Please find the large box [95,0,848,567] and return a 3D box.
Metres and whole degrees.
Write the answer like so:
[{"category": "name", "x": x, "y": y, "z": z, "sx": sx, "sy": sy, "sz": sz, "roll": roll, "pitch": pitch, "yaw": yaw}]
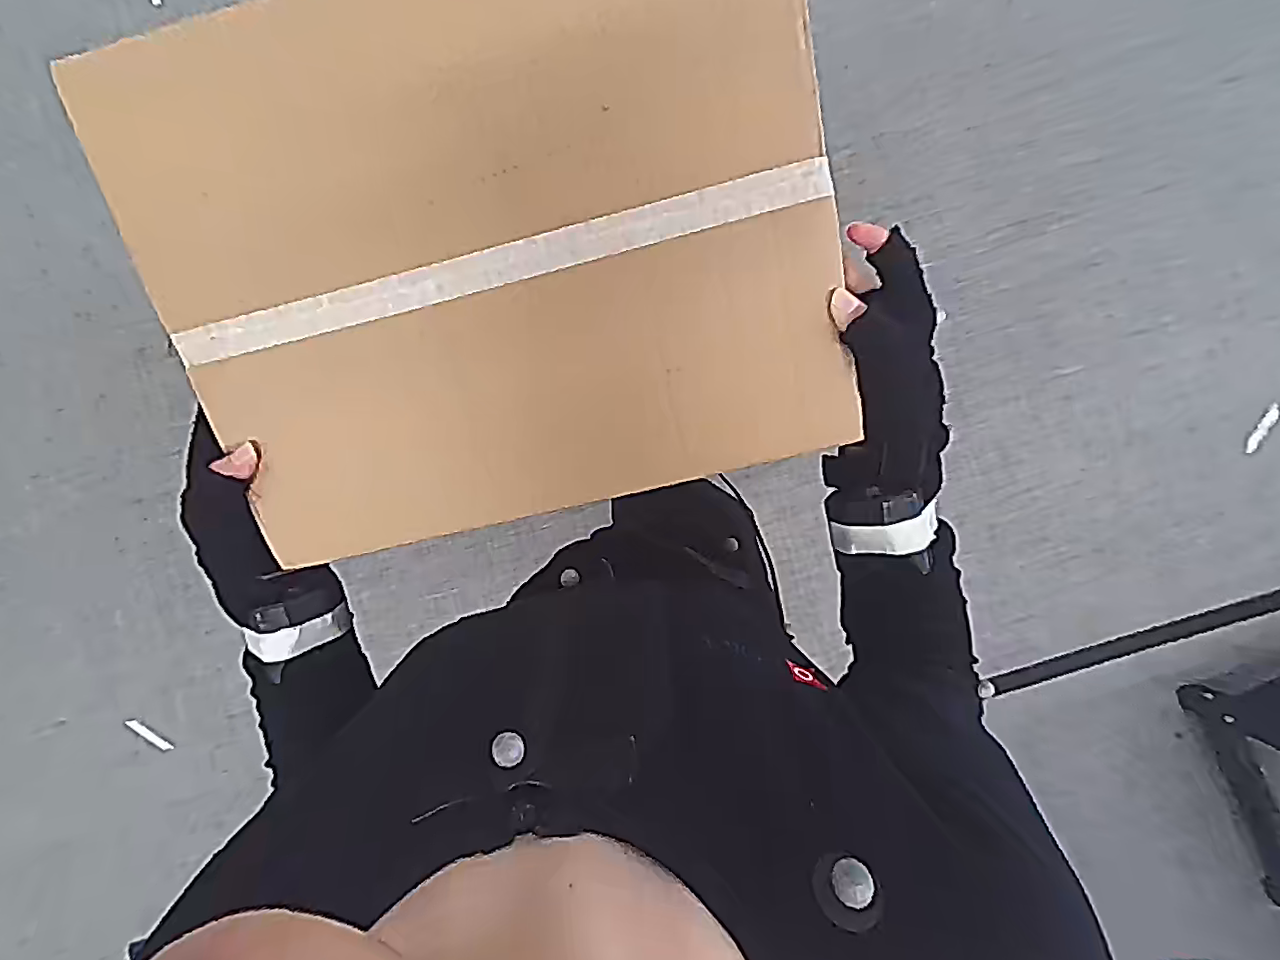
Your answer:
[{"category": "large box", "x": -0.086, "y": -0.166, "z": 0.477, "sx": 0.408, "sy": 0.320, "sz": 0.320, "roll": -13, "pitch": 105, "yaw": 5}]
